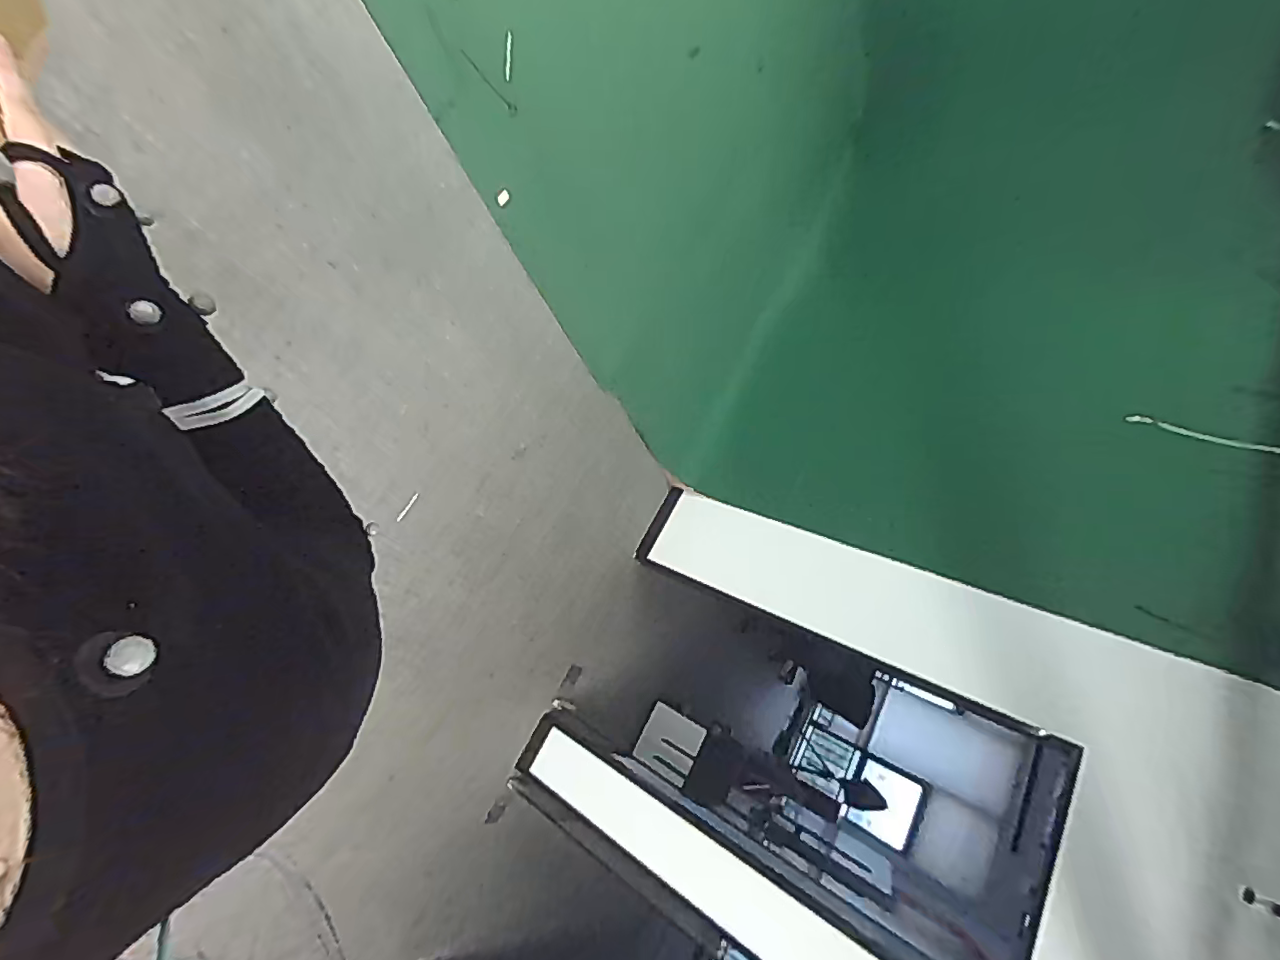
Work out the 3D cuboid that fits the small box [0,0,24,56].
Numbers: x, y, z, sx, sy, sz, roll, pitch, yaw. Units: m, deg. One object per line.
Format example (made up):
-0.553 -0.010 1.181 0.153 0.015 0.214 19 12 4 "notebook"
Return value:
-0.461 -0.295 0.253 0.179 0.176 0.168 -9 153 -20 "small box"
